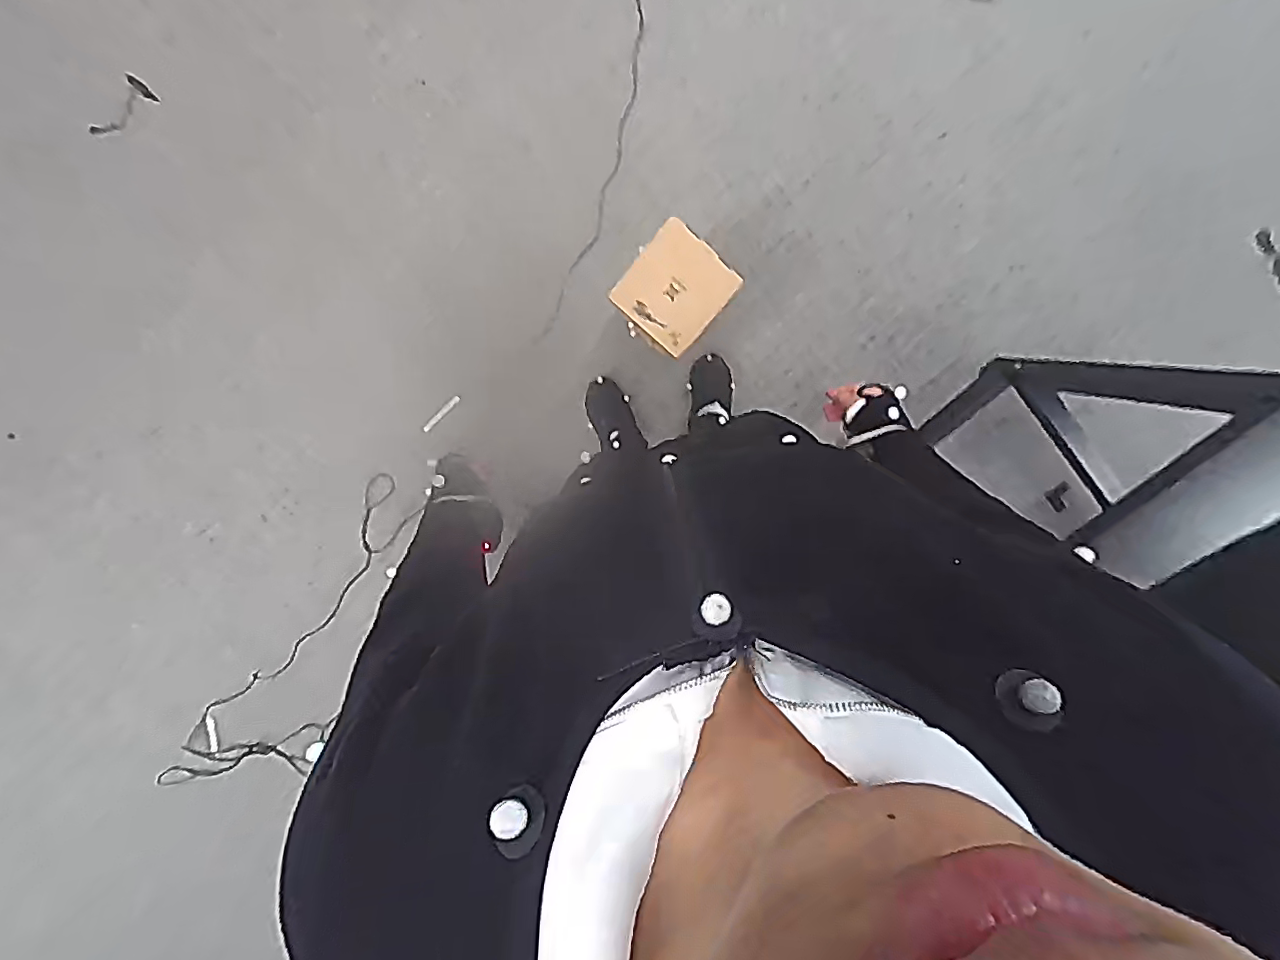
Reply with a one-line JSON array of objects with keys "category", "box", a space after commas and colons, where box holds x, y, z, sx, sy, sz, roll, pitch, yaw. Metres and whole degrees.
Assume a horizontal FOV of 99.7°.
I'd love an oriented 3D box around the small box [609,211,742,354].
[{"category": "small box", "box": [0.058, -0.354, 1.004, 0.168, 0.176, 0.179, 40, 100, -9]}]
